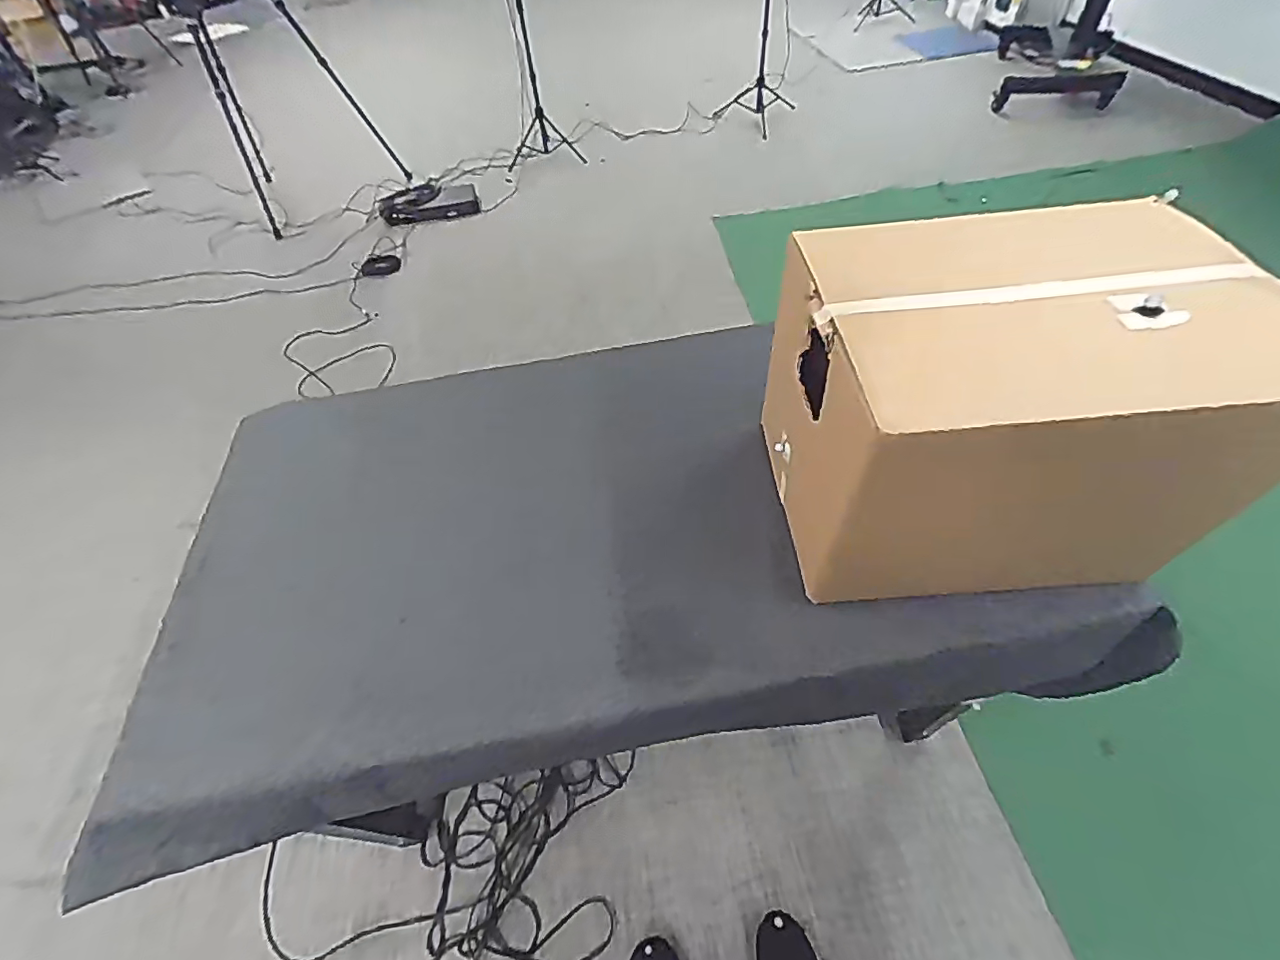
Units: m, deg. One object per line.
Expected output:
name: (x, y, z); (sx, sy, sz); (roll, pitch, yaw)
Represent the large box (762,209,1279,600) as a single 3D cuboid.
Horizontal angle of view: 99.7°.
large box: (0.387, -0.078, 0.631); (0.408, 0.320, 0.320); (-4, 52, 1)
